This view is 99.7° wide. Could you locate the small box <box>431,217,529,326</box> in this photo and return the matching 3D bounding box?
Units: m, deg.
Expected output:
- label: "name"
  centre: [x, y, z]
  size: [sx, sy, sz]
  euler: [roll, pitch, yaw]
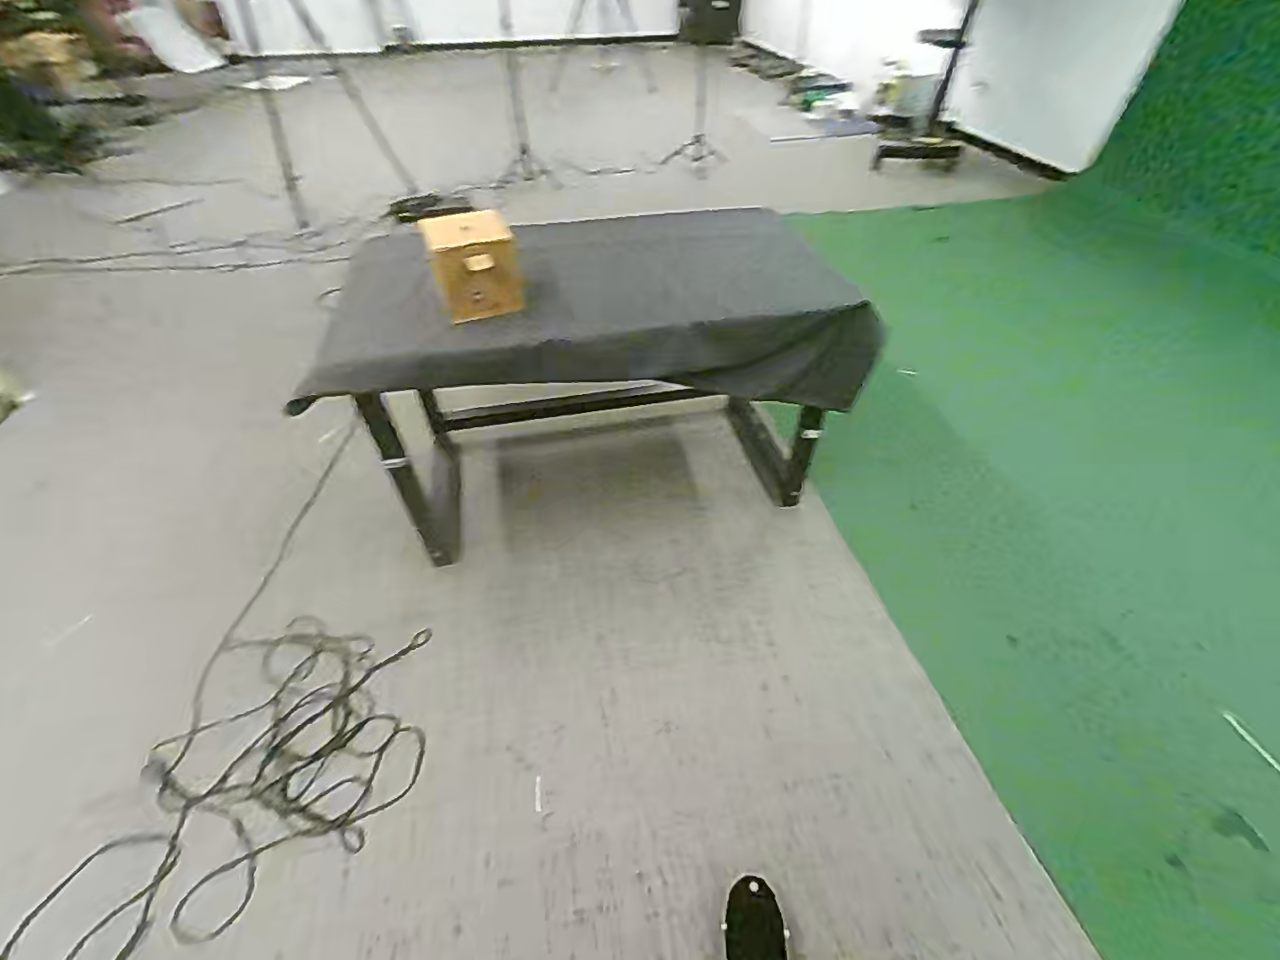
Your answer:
- label: "small box"
  centre: [-0.359, -0.471, 1.222]
  size: [0.168, 0.176, 0.179]
  euler: [-17, 48, -17]
